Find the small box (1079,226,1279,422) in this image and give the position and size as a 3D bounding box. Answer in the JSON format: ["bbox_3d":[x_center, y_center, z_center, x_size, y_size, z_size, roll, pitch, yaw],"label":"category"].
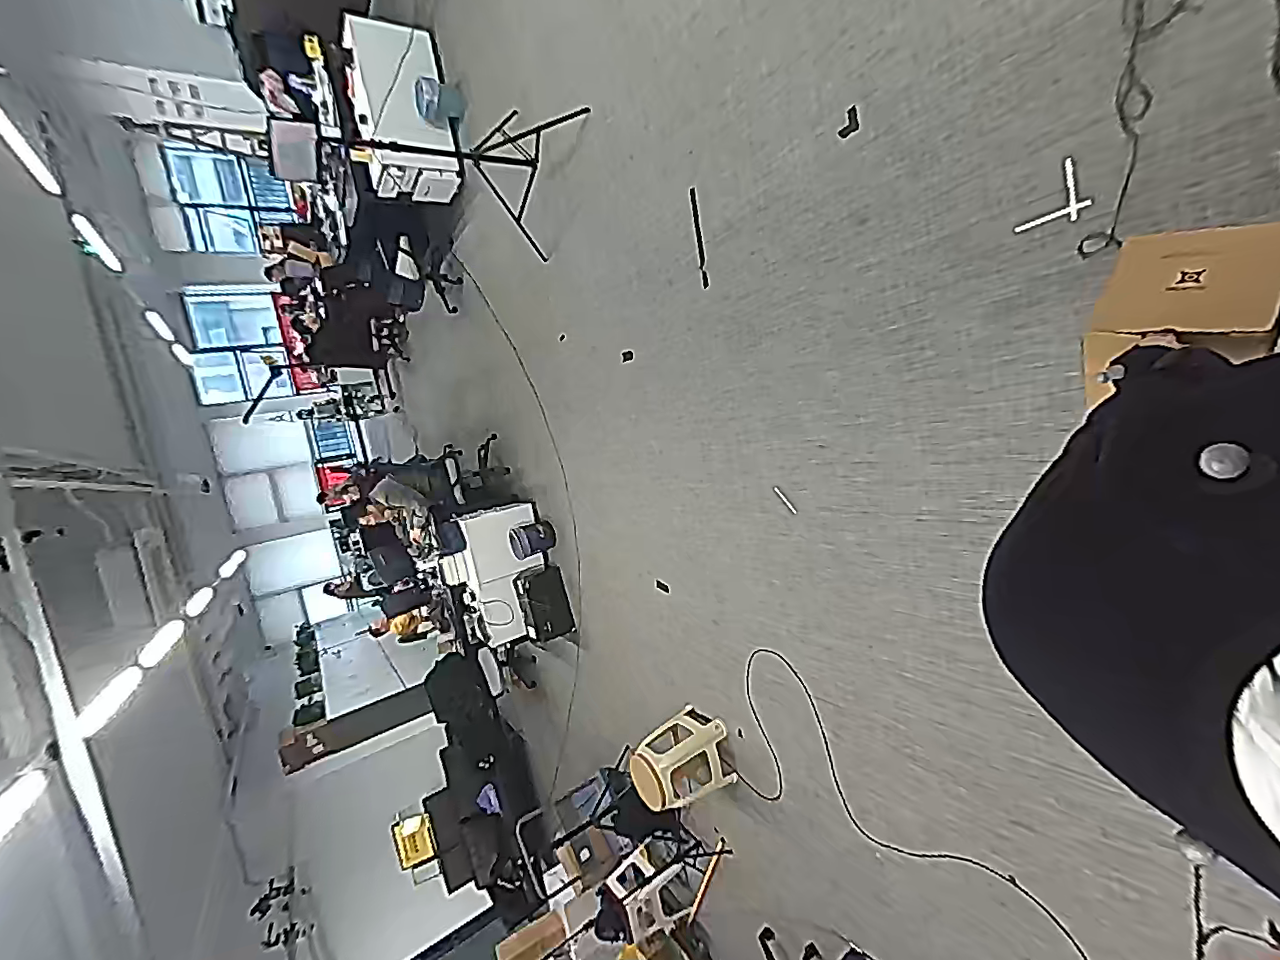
[{"bbox_3d":[0.714,-0.198,0.714,0.168,0.179,0.176,18,160,47],"label":"small box"}]
